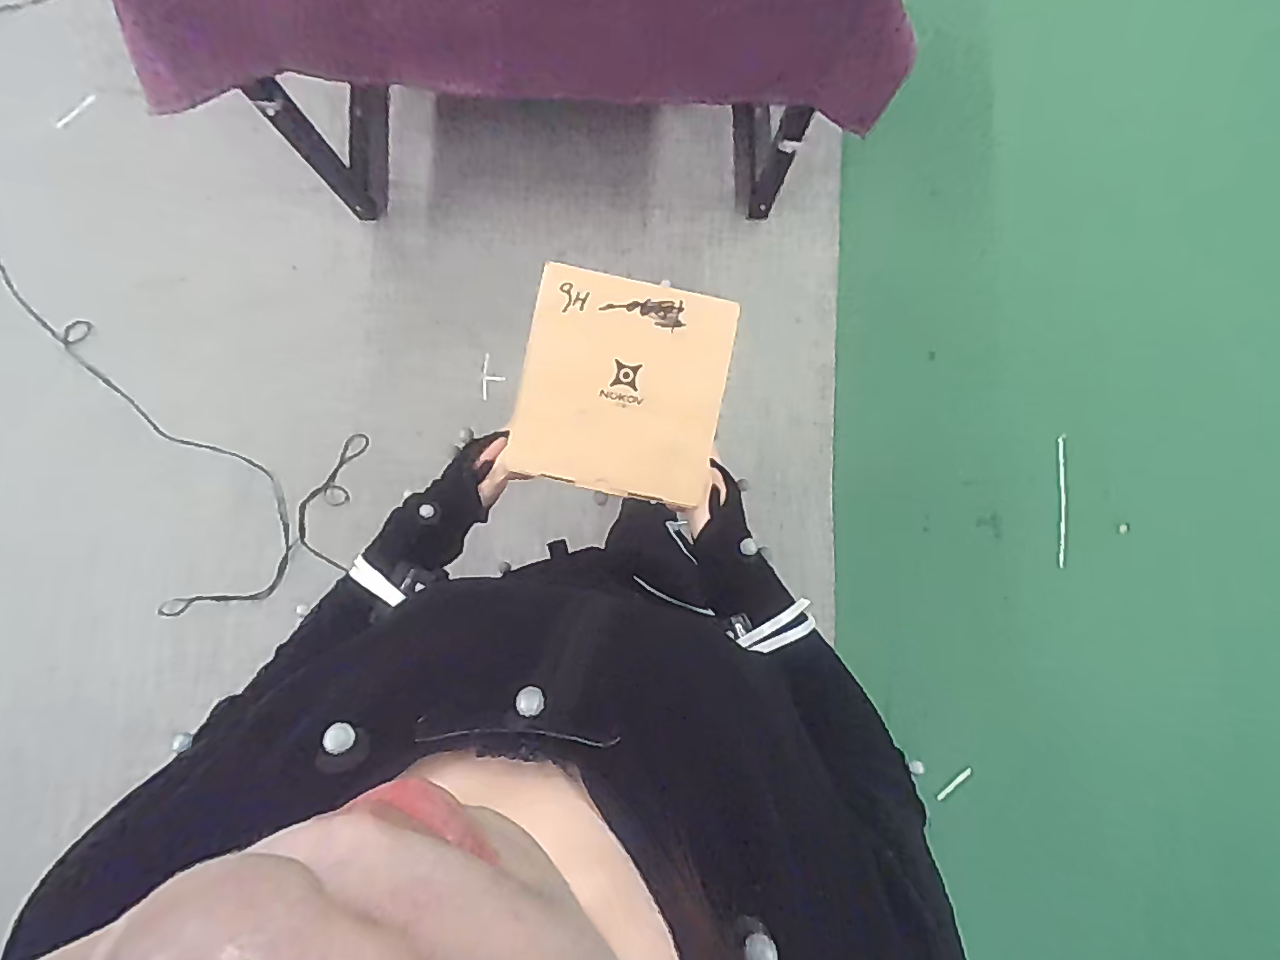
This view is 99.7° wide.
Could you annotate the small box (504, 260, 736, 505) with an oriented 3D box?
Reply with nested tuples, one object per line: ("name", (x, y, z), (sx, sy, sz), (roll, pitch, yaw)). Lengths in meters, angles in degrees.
("small box", (-0.019, -0.081, 0.525), (0.168, 0.176, 0.179), (12, 91, -3))
